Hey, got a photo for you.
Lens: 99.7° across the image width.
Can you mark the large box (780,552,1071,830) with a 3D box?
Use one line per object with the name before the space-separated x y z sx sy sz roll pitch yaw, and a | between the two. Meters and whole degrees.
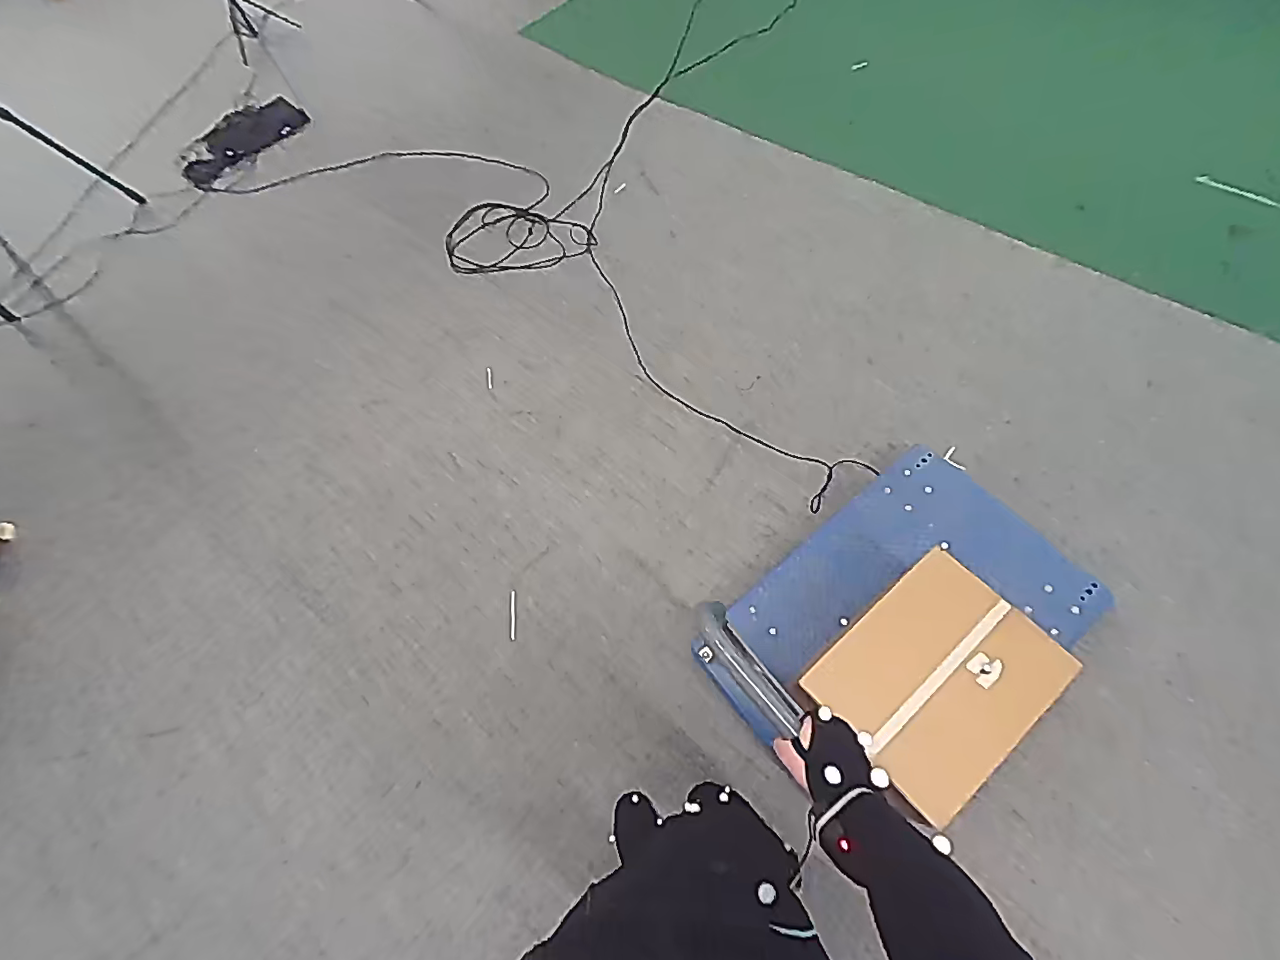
large box | 0.556 0.432 1.132 0.408 0.320 0.320 -39 67 -13
